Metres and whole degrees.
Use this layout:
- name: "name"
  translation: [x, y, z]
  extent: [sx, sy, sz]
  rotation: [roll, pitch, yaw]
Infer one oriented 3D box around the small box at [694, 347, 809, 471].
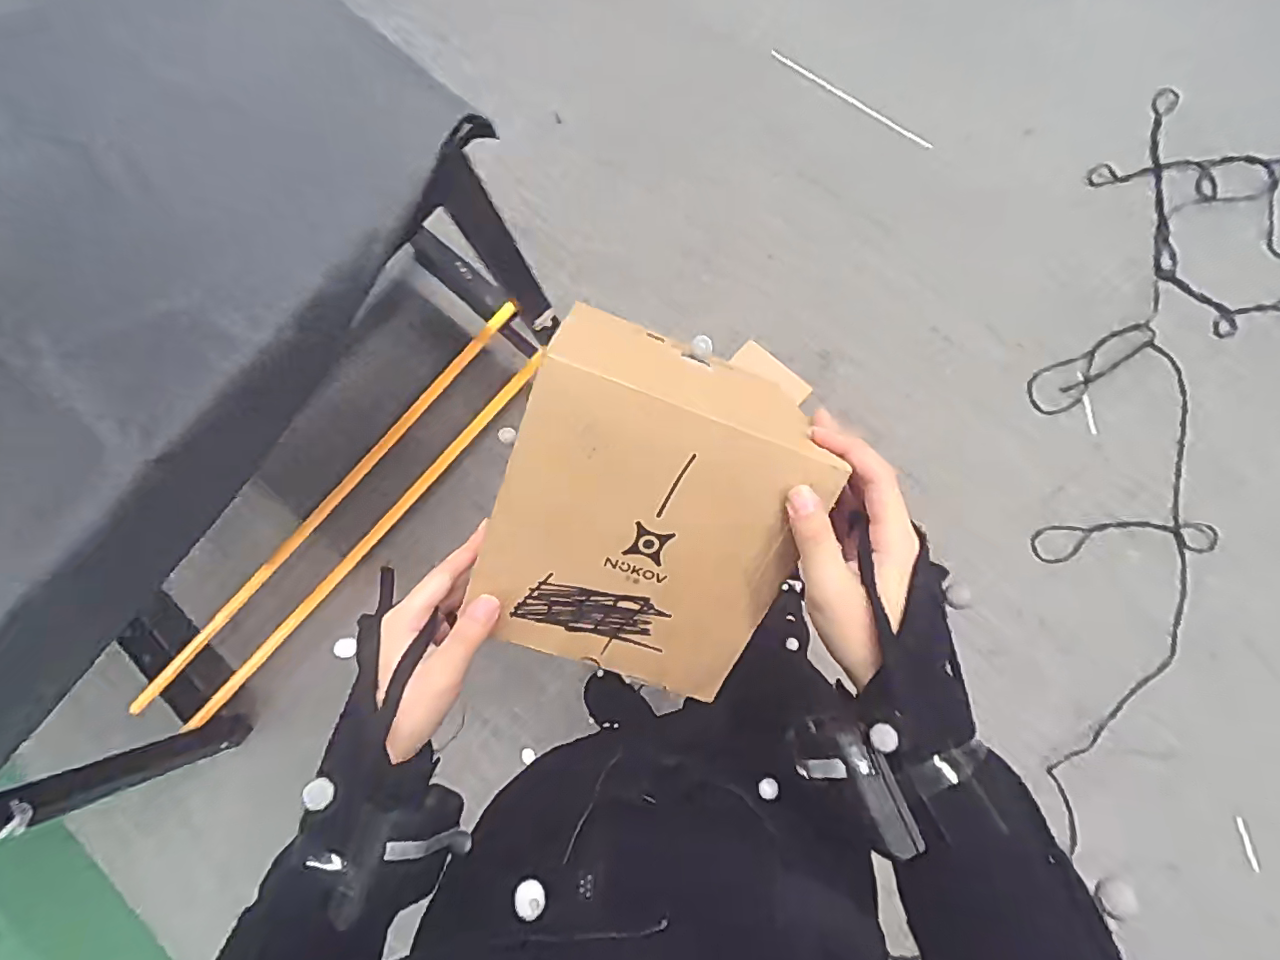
- name: "small box"
  translation: [0.228, -0.145, 1.164]
  extent: [0.168, 0.176, 0.179]
  rotation: [42, 86, 11]
